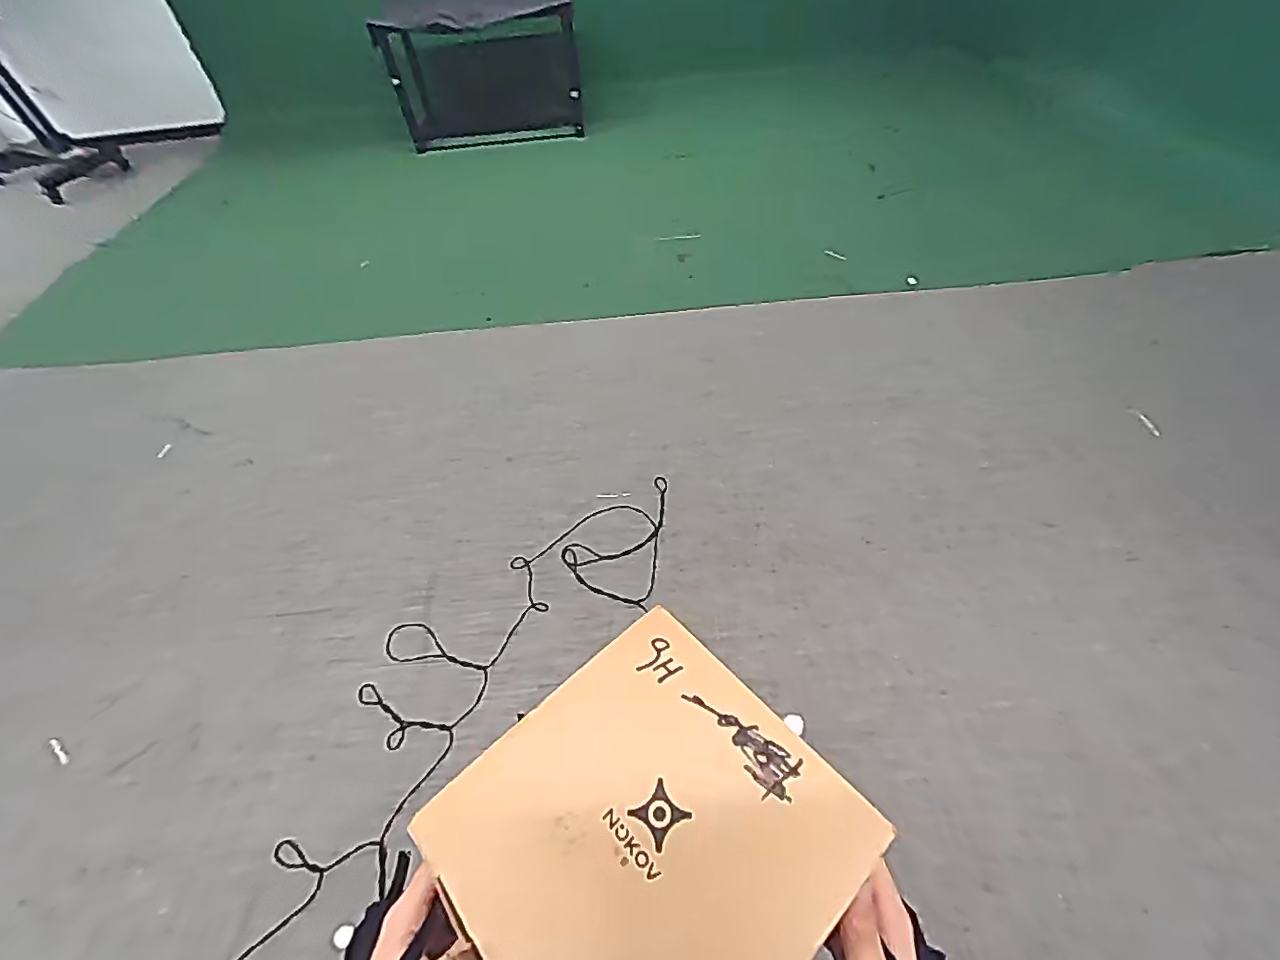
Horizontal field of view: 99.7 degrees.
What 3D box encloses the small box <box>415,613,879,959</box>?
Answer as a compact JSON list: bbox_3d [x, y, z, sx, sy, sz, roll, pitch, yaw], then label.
[{"bbox_3d":[0.007,0.224,0.327,0.179,0.176,0.168,-37,57,-23],"label":"small box"}]
